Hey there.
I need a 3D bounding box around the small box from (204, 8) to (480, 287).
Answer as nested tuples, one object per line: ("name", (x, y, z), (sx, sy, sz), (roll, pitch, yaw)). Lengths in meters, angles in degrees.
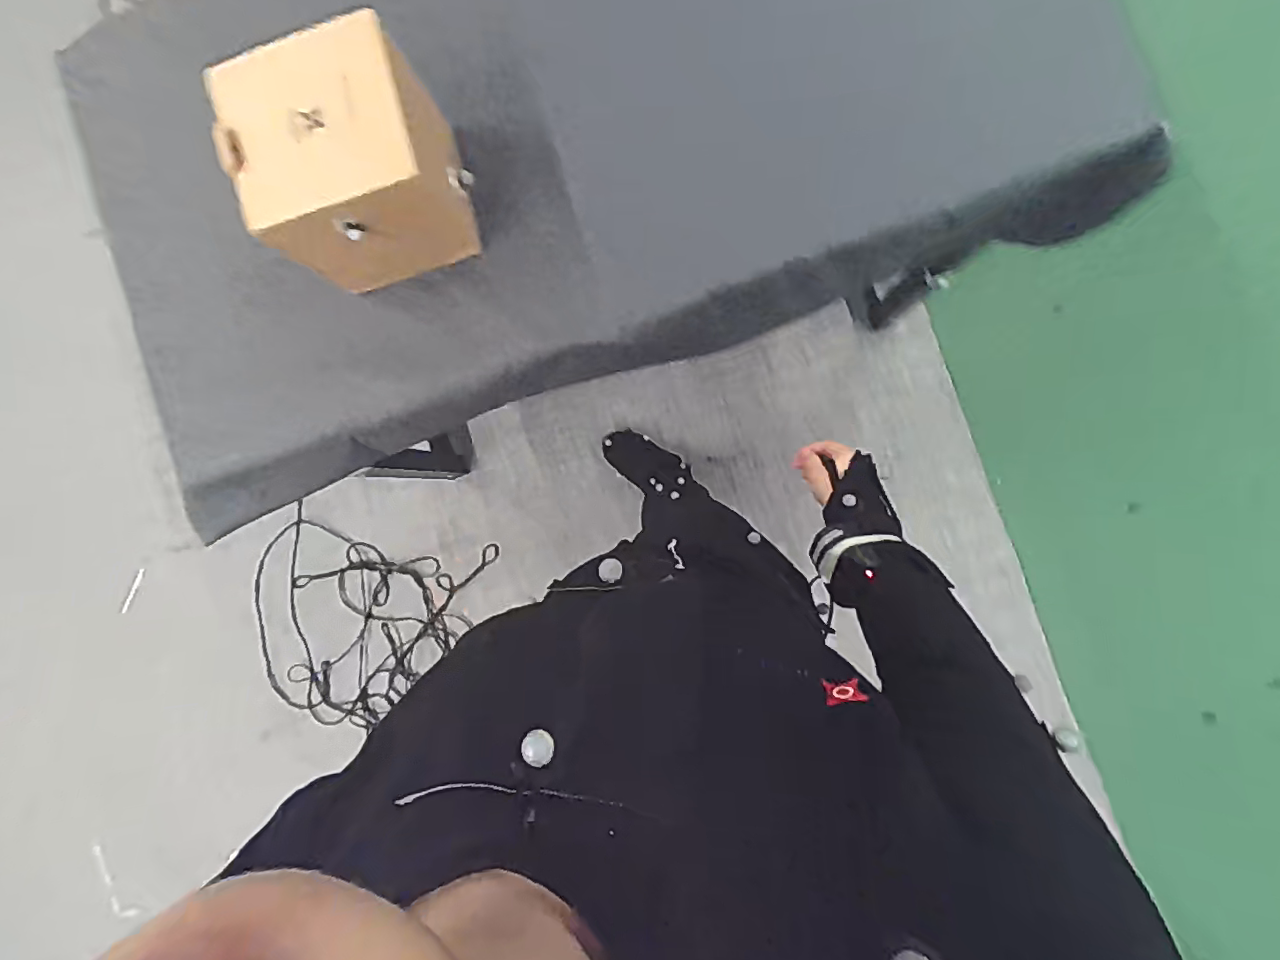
("small box", (-0.300, -0.331, 0.579), (0.179, 0.176, 0.168), (-17, 89, 4))
